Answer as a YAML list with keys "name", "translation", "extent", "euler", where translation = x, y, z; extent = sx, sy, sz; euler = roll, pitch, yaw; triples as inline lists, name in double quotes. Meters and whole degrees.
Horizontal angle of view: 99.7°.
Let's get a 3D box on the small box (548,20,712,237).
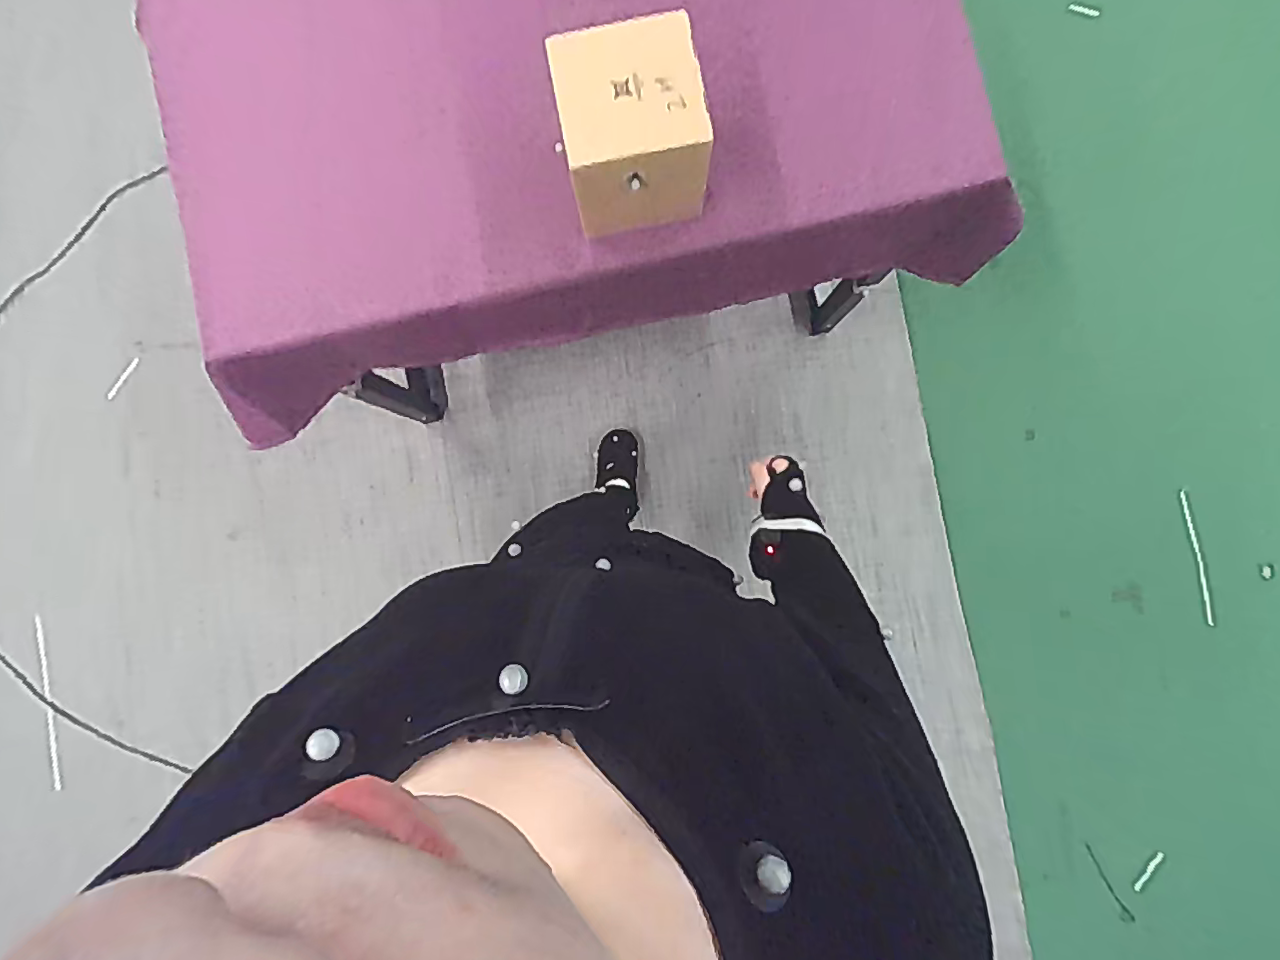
- name: "small box"
  translation: [-0.011, -0.450, 0.721]
  extent: [0.179, 0.176, 0.168]
  euler: [-10, 87, 0]
